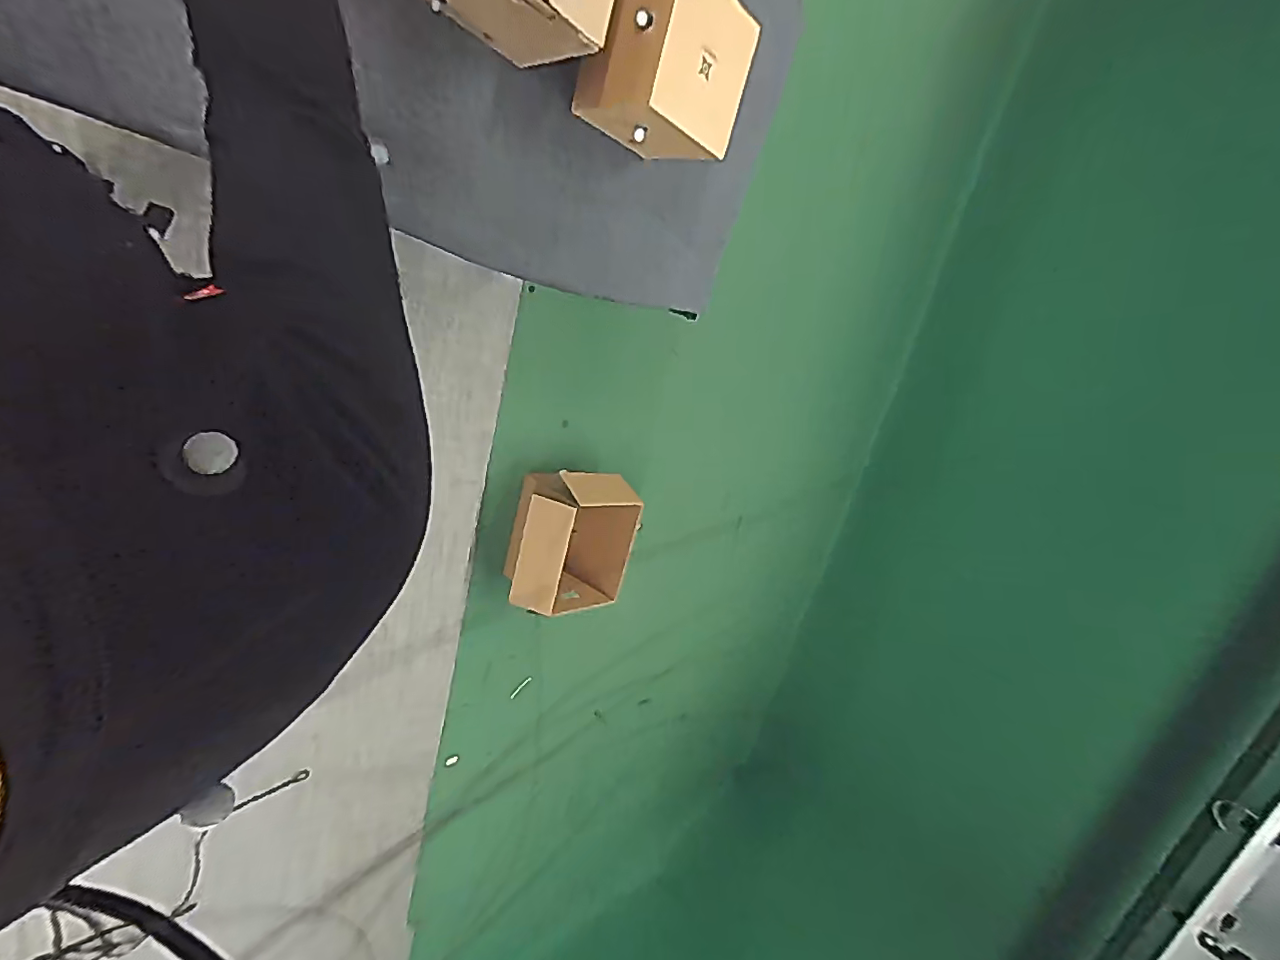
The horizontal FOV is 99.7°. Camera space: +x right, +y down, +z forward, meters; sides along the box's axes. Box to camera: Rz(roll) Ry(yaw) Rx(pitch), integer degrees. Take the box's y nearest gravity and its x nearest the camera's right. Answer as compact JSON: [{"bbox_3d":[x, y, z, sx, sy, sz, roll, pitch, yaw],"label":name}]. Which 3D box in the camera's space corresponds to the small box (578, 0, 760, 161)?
[{"bbox_3d":[0.034,-0.578,0.763,0.168,0.176,0.179,0,112,-47],"label":"small box"}]
